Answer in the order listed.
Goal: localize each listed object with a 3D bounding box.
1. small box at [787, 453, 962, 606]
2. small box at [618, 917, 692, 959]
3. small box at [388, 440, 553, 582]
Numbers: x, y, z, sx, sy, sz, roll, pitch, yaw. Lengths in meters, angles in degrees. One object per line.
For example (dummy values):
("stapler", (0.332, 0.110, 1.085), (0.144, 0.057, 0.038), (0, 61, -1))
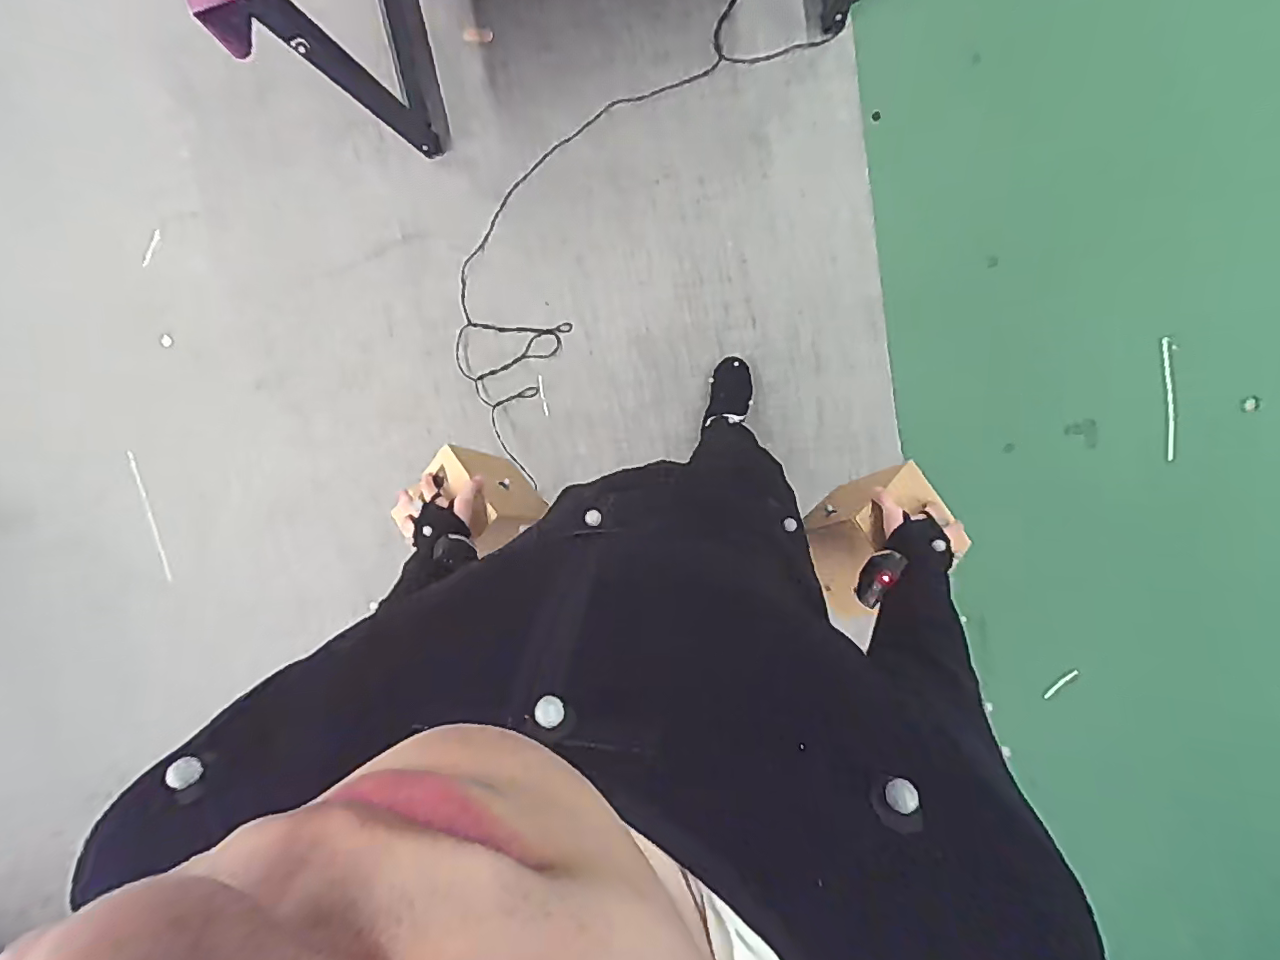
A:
("small box", (0.368, 0.089, 0.881), (0.179, 0.176, 0.168), (-36, 91, -29))
("small box", (0.040, 1.212, 1.306), (0.168, 0.176, 0.179), (-7, 96, 8))
("small box", (-0.288, 0.060, 0.939), (0.168, 0.176, 0.179), (-49, 66, 12))
